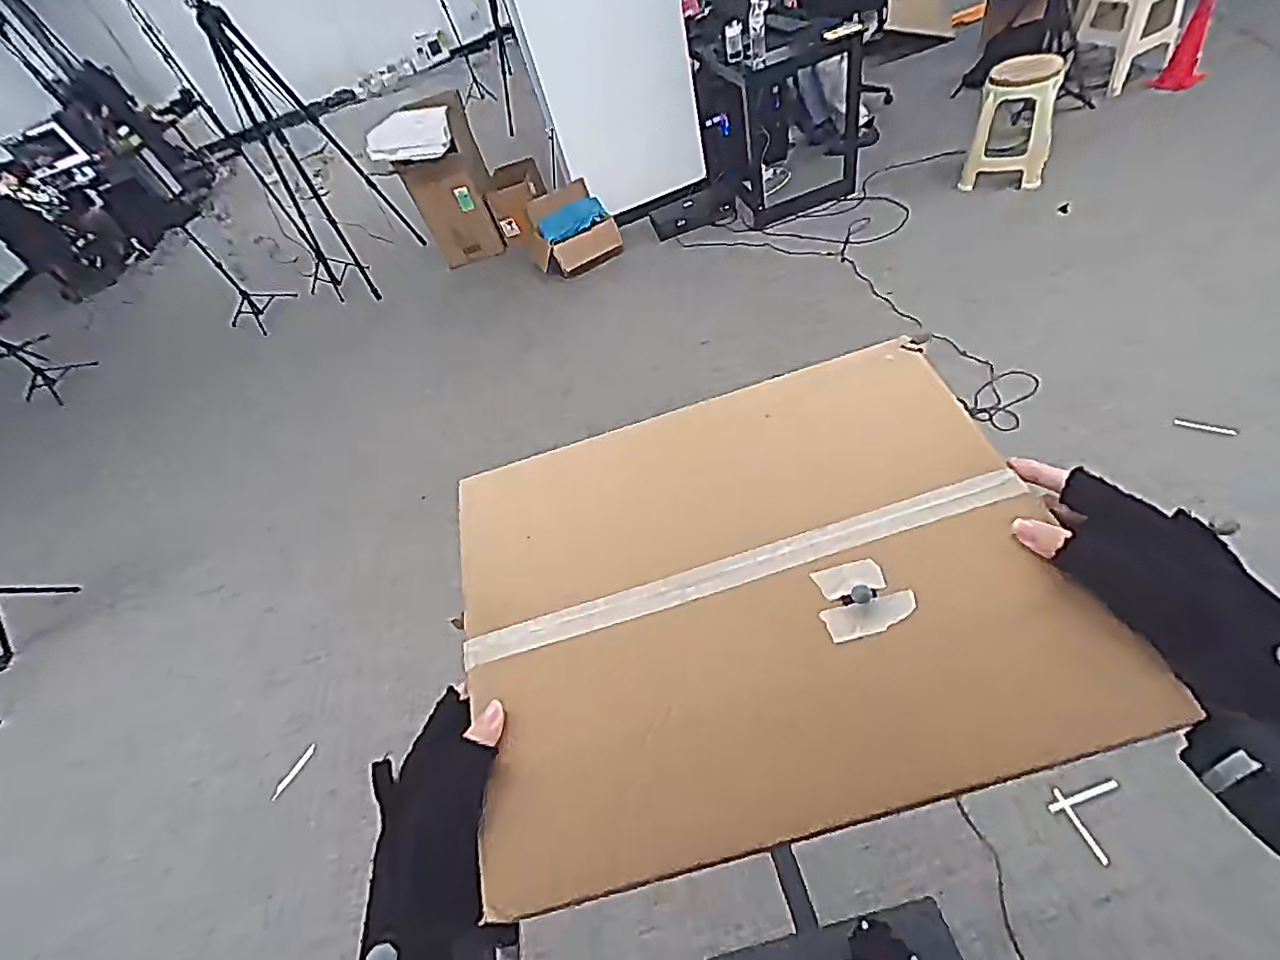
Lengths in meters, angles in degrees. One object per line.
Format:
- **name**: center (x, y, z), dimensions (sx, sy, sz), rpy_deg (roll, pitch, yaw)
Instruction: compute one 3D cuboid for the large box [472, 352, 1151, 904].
- **large box**: center (0.101, 0.147, 0.520), dimensions (0.408, 0.320, 0.320), rpy_deg (-18, 57, 2)
